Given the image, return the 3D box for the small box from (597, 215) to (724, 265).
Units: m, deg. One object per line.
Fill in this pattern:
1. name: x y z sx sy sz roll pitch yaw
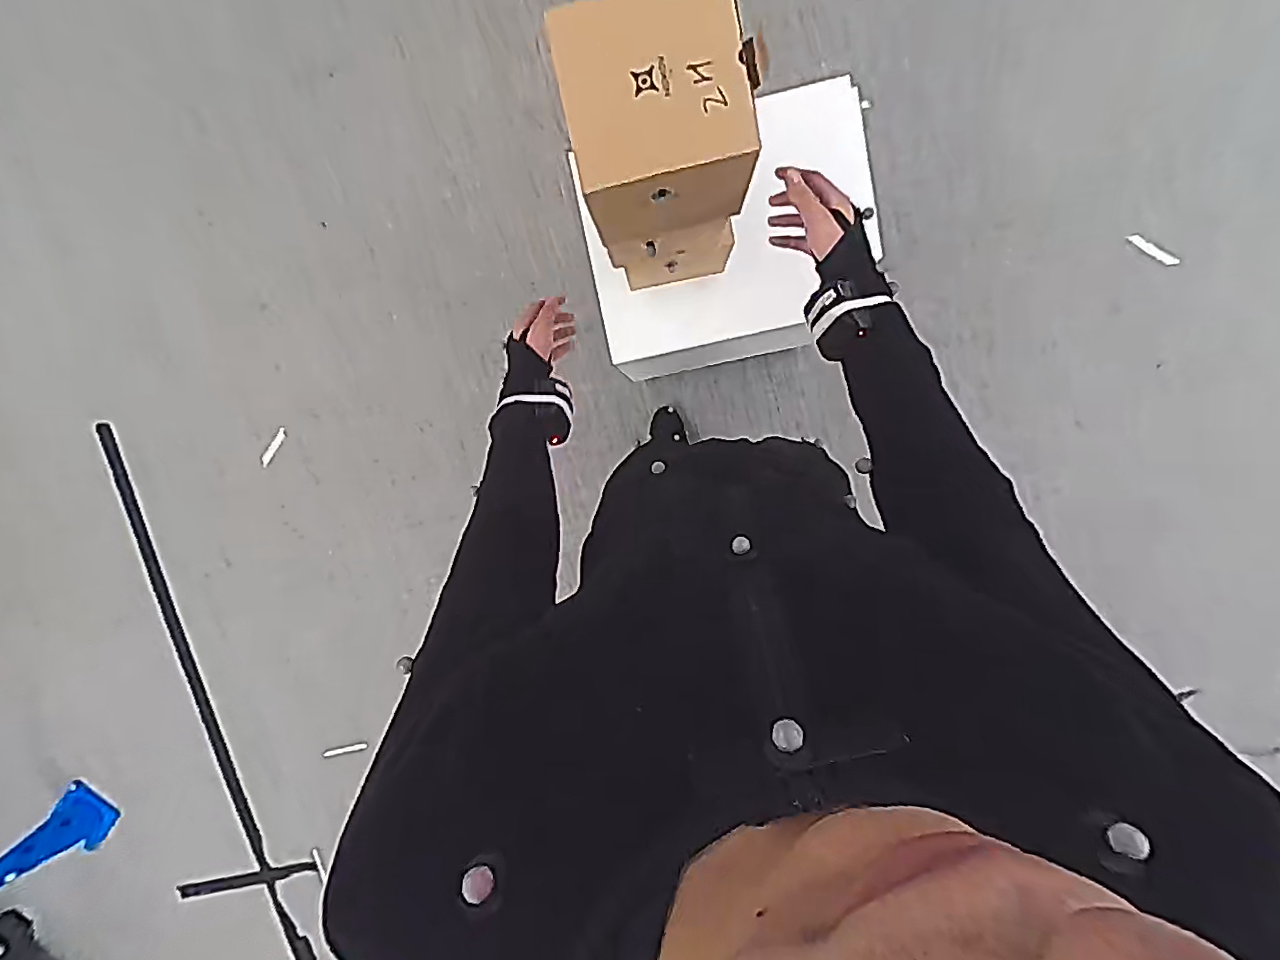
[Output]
1. small box: 0.020 -0.409 0.741 0.168 0.176 0.179 -9 96 4

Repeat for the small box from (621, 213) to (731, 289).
1. small box: 0.046 -0.431 0.900 0.179 0.176 0.168 -10 96 3

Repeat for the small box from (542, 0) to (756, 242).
1. small box: 0.014 -0.376 0.578 0.179 0.176 0.168 -12 96 5
